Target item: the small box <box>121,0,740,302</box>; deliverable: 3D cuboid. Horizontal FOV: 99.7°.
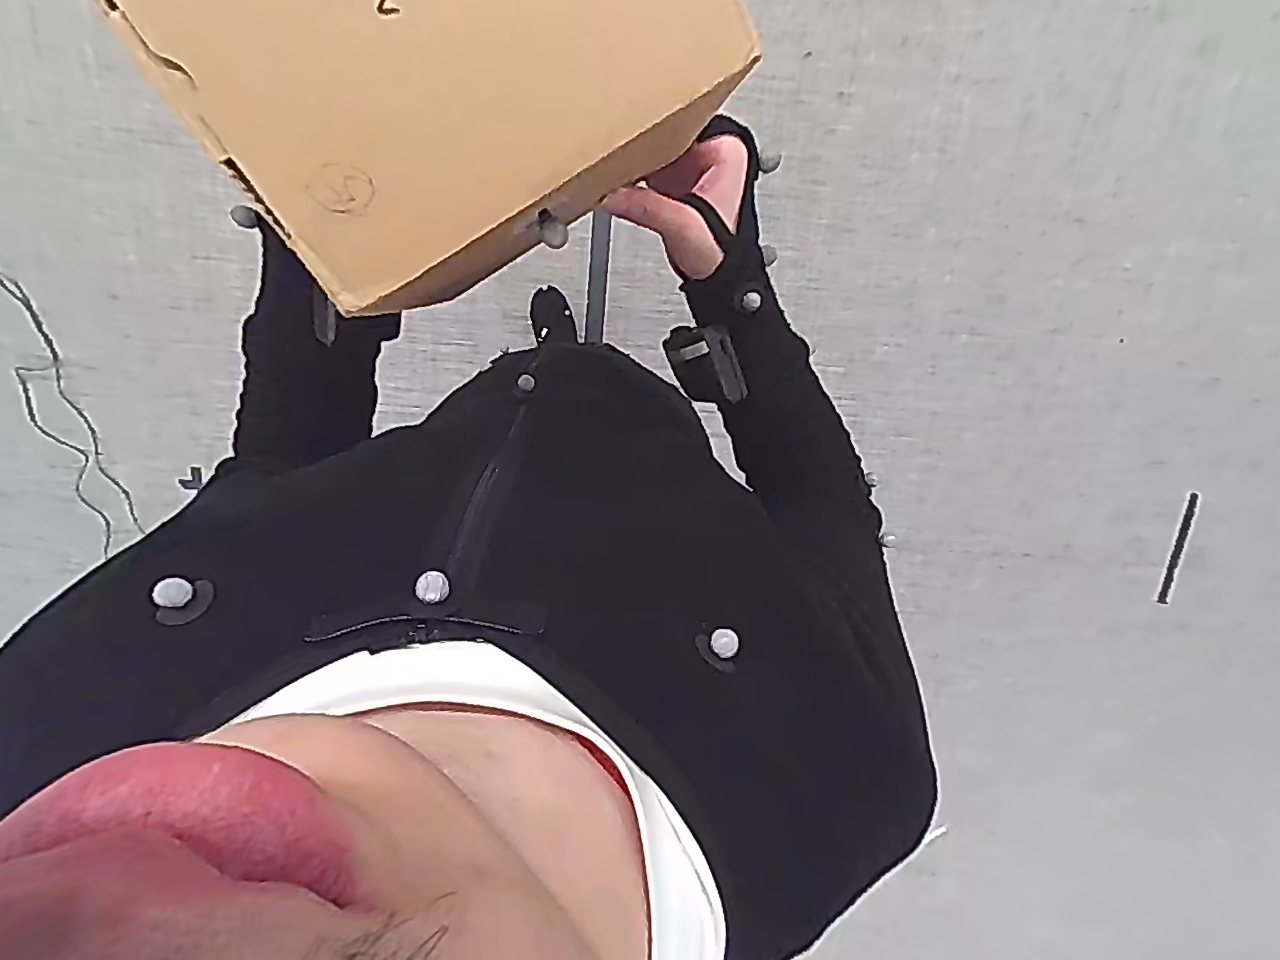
[{"bbox_3d":[-0.083,-0.200,0.248,0.179,0.176,0.168,-30,111,5],"label":"small box"}]
